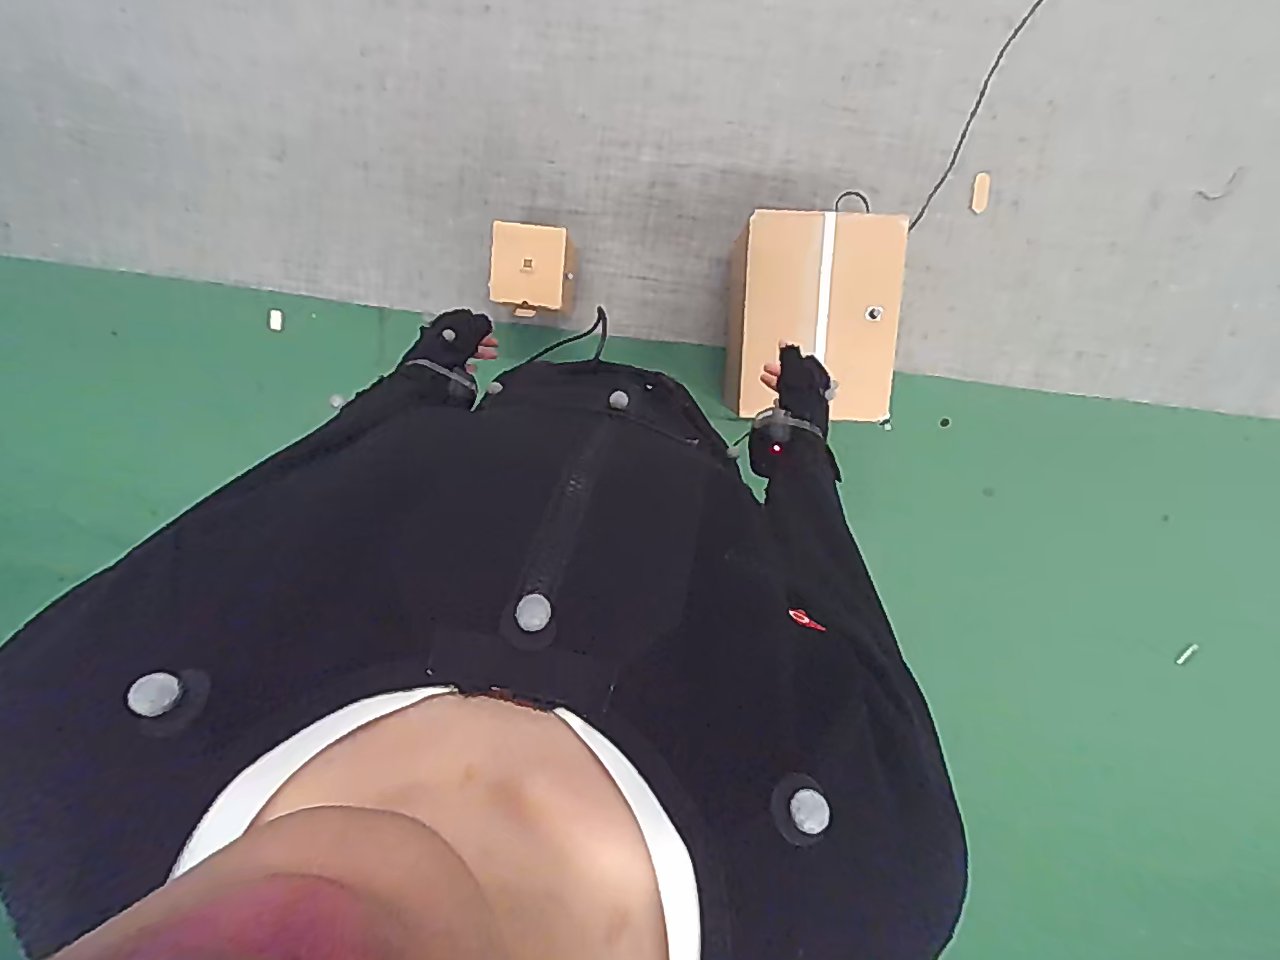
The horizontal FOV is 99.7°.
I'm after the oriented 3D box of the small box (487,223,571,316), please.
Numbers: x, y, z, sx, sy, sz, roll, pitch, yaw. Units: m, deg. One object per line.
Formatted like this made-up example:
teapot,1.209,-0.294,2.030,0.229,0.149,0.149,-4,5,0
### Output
small box,-0.261,-0.499,1.301,0.168,0.176,0.179,6,103,-1
